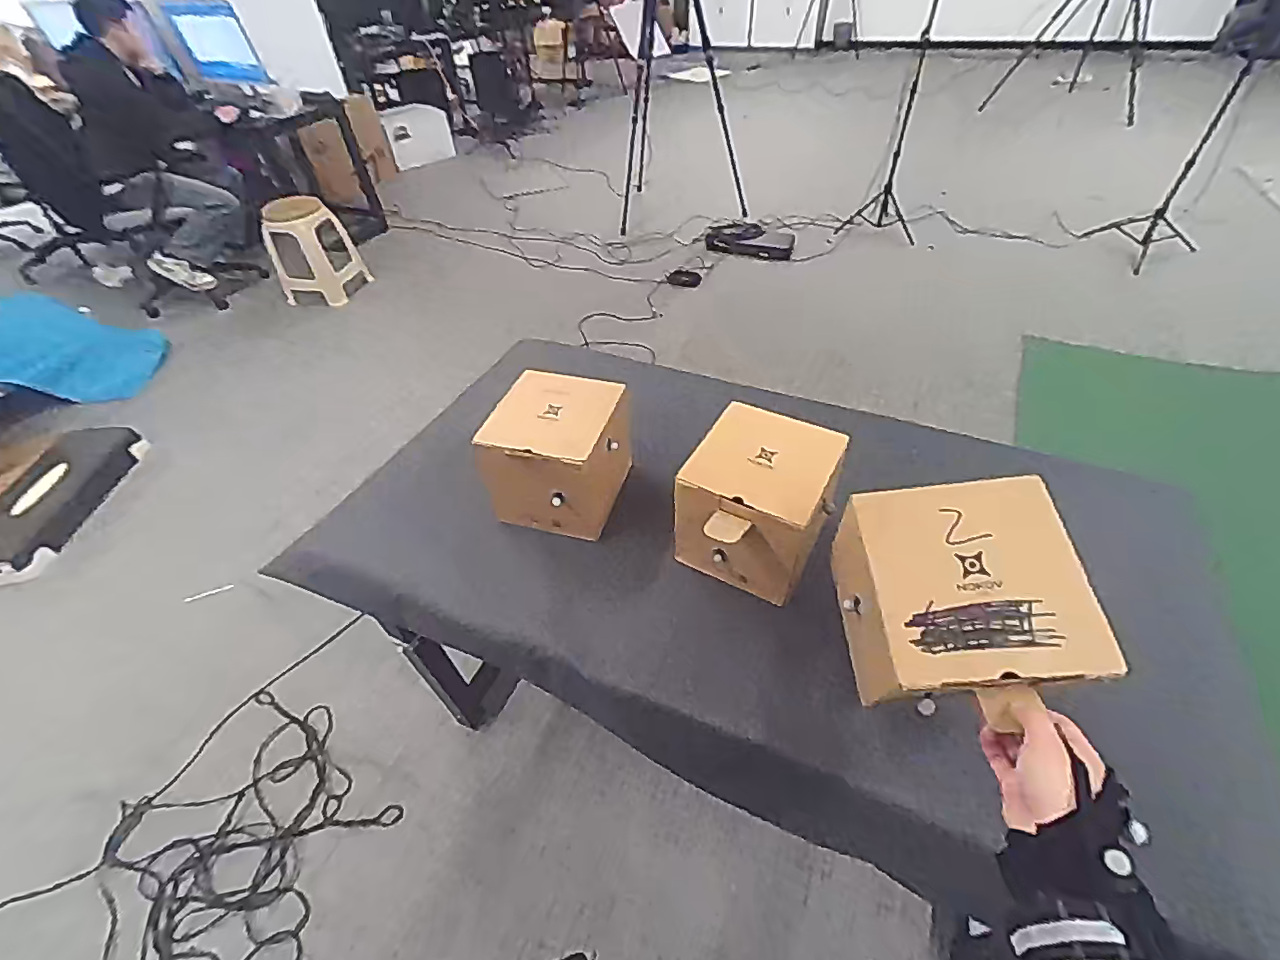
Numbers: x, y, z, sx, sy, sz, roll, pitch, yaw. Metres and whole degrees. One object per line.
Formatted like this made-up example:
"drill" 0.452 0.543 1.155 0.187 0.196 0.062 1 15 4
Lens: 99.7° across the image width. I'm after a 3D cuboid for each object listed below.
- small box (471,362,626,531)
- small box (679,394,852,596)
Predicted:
"small box" -0.120 -0.049 0.806 0.168 0.176 0.179 12 46 12
"small box" 0.159 0.019 0.723 0.168 0.176 0.179 22 51 22
